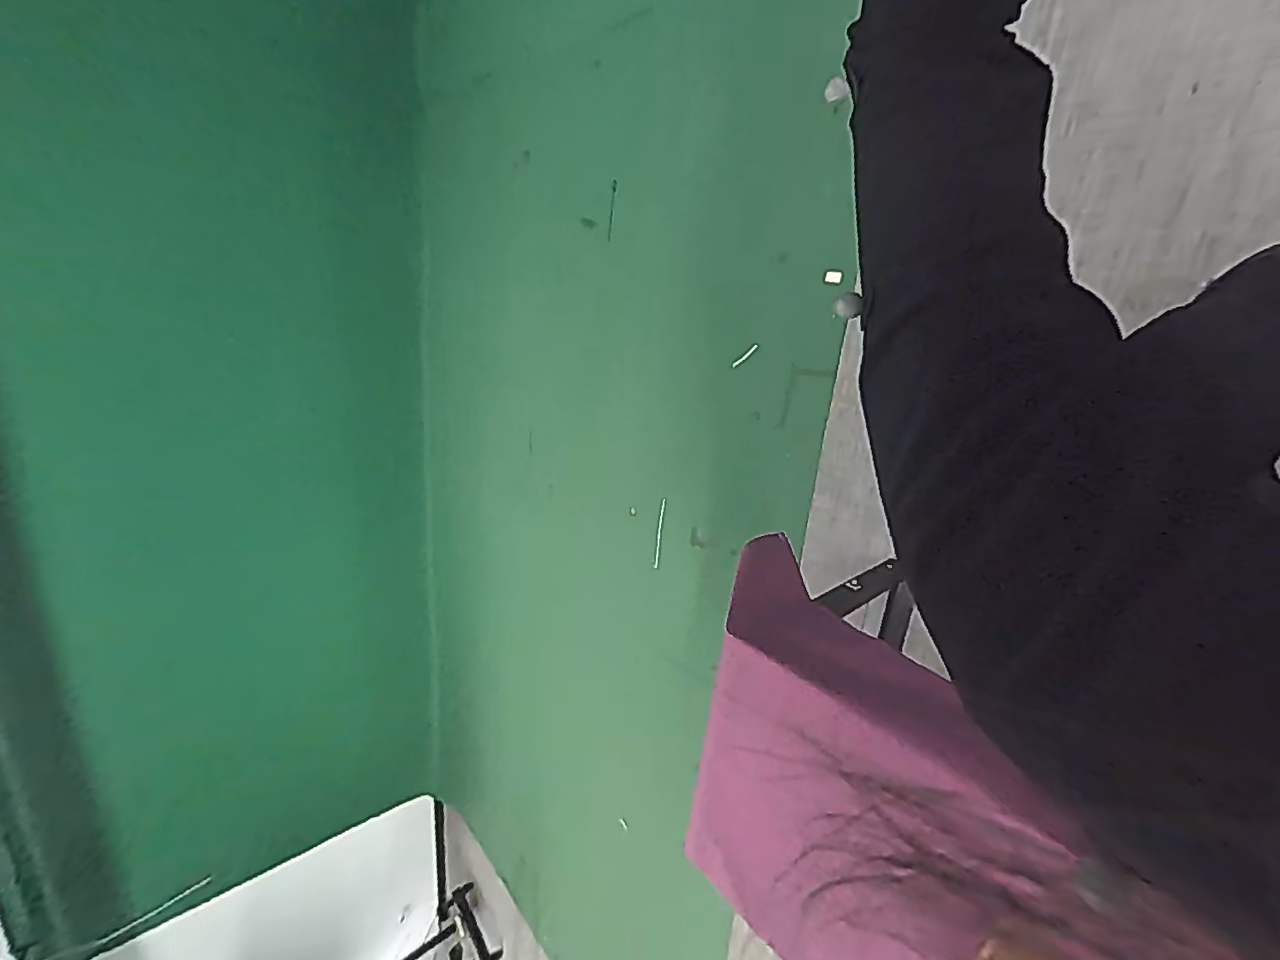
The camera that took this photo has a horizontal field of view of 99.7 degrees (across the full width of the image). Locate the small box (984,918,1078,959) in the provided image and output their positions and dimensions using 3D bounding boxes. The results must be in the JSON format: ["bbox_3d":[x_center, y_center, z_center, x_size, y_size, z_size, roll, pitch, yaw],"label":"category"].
[{"bbox_3d":[0.499,0.711,0.666,0.168,0.176,0.179,29,119,41],"label":"small box"}]
